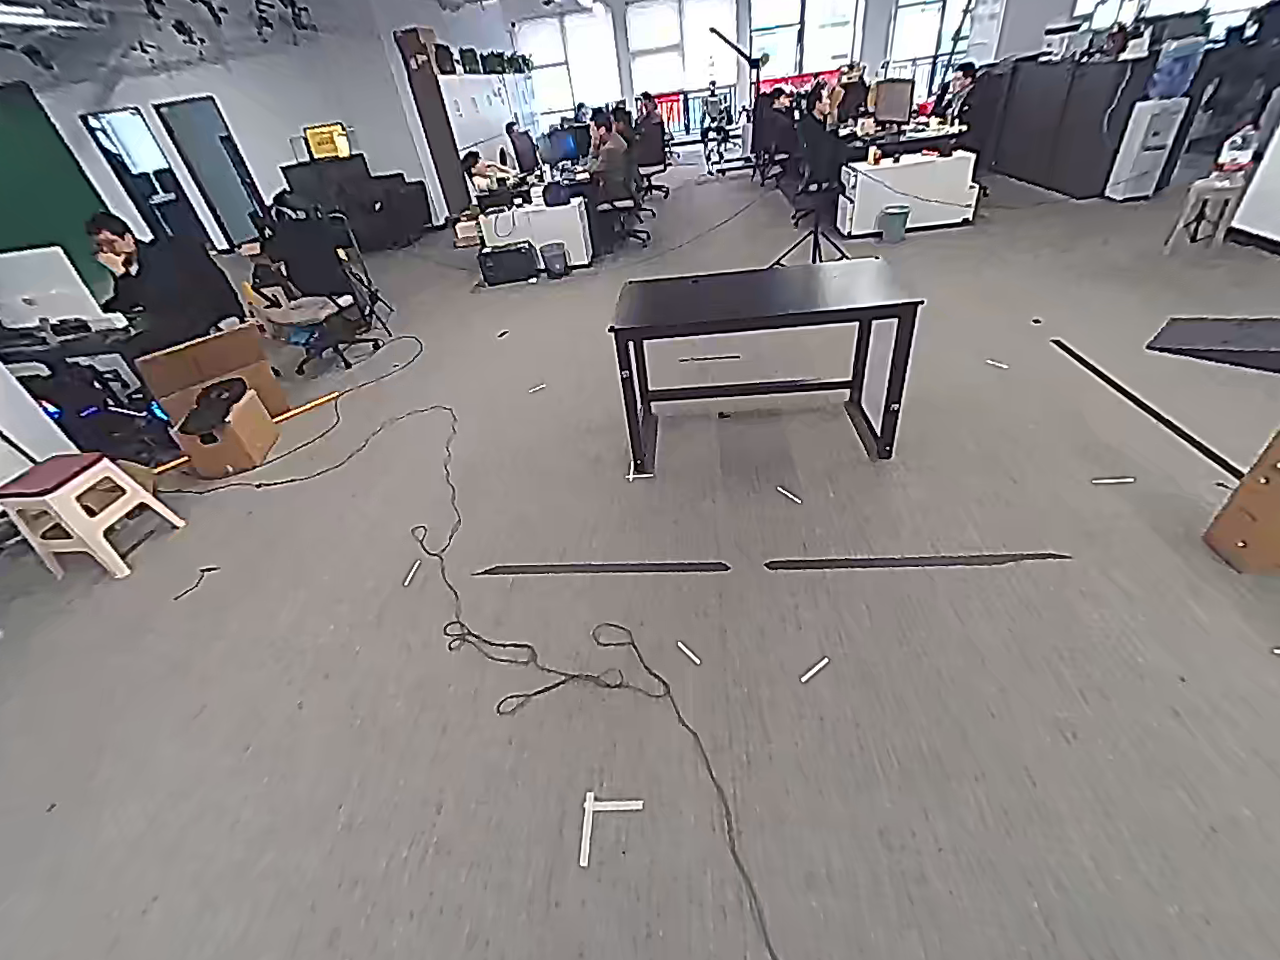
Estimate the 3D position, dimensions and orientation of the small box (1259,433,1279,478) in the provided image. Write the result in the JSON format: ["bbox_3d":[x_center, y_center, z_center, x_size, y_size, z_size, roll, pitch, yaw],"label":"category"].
[{"bbox_3d":[1.986,-0.080,1.562,0.179,0.176,0.168,-5,37,7],"label":"small box"}]

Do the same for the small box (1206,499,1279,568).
[{"bbox_3d":[2.032,0.176,1.763,0.168,0.176,0.179,-3,36,7],"label":"small box"}]

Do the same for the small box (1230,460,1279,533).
[{"bbox_3d":[2.008,0.047,1.664,0.179,0.176,0.168,-4,37,6],"label":"small box"}]
